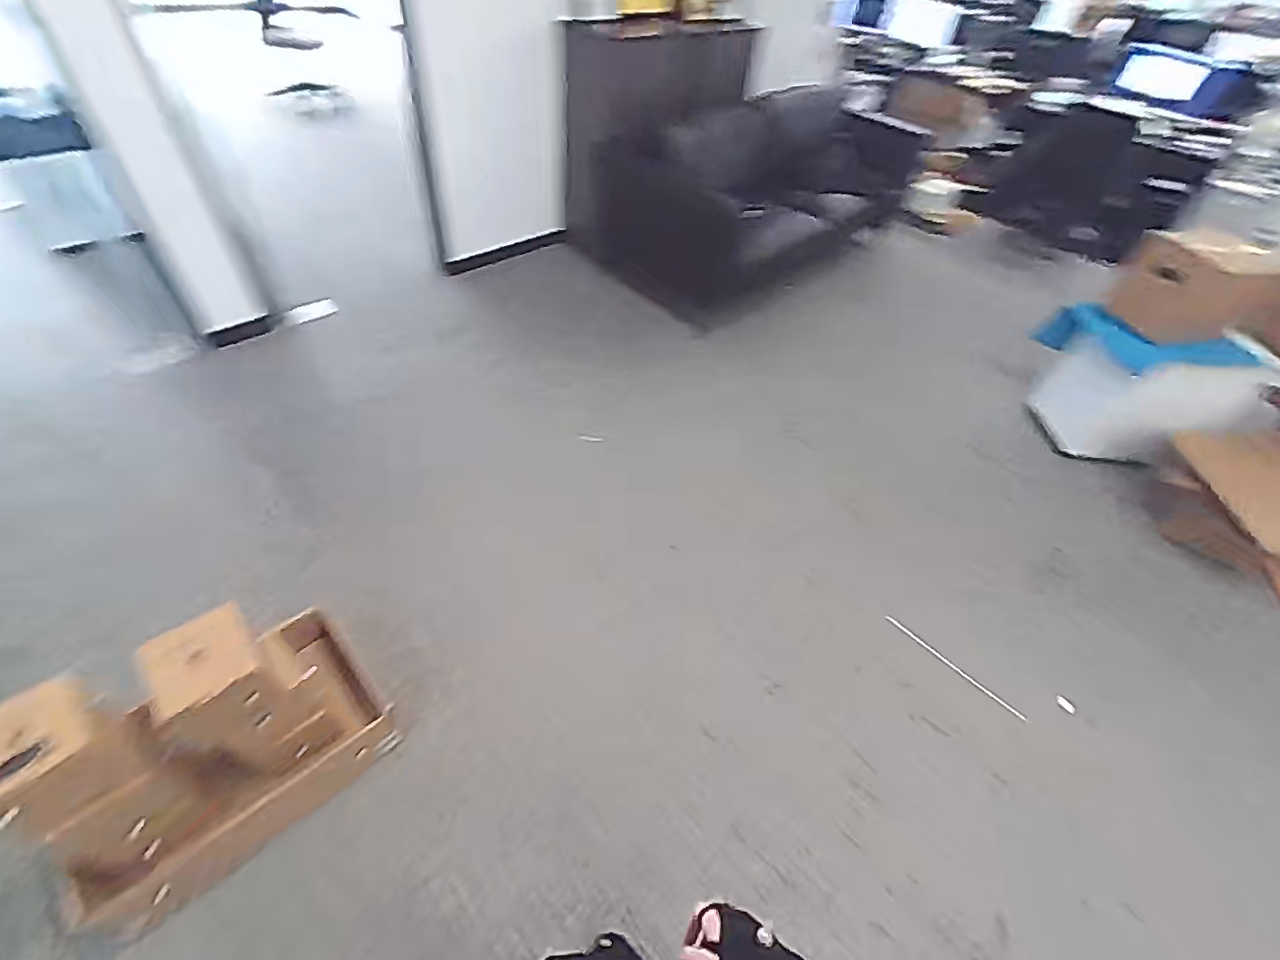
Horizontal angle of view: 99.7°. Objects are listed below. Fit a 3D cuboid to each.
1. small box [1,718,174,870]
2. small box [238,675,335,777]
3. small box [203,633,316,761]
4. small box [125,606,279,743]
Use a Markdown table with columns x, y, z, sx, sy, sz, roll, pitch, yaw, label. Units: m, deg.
| x | y | z | sx | sy | sz | roll | pitch | yaw | label |
| --- | --- | --- | --- | --- | --- | --- | --- | --- | --- |
| -1.063 | 0.613 | 1.058 | 0.168 | 0.176 | 0.179 | 38 | 51 | 25 | small box |
| -0.884 | 0.595 | 1.326 | 0.168 | 0.176 | 0.179 | -31 | 59 | -31 | small box |
| -0.866 | 0.486 | 1.203 | 0.168 | 0.176 | 0.179 | 39 | 54 | 23 | small box |
| -0.854 | 0.391 | 1.070 | 0.168 | 0.176 | 0.179 | -30 | 59 | -31 | small box |
